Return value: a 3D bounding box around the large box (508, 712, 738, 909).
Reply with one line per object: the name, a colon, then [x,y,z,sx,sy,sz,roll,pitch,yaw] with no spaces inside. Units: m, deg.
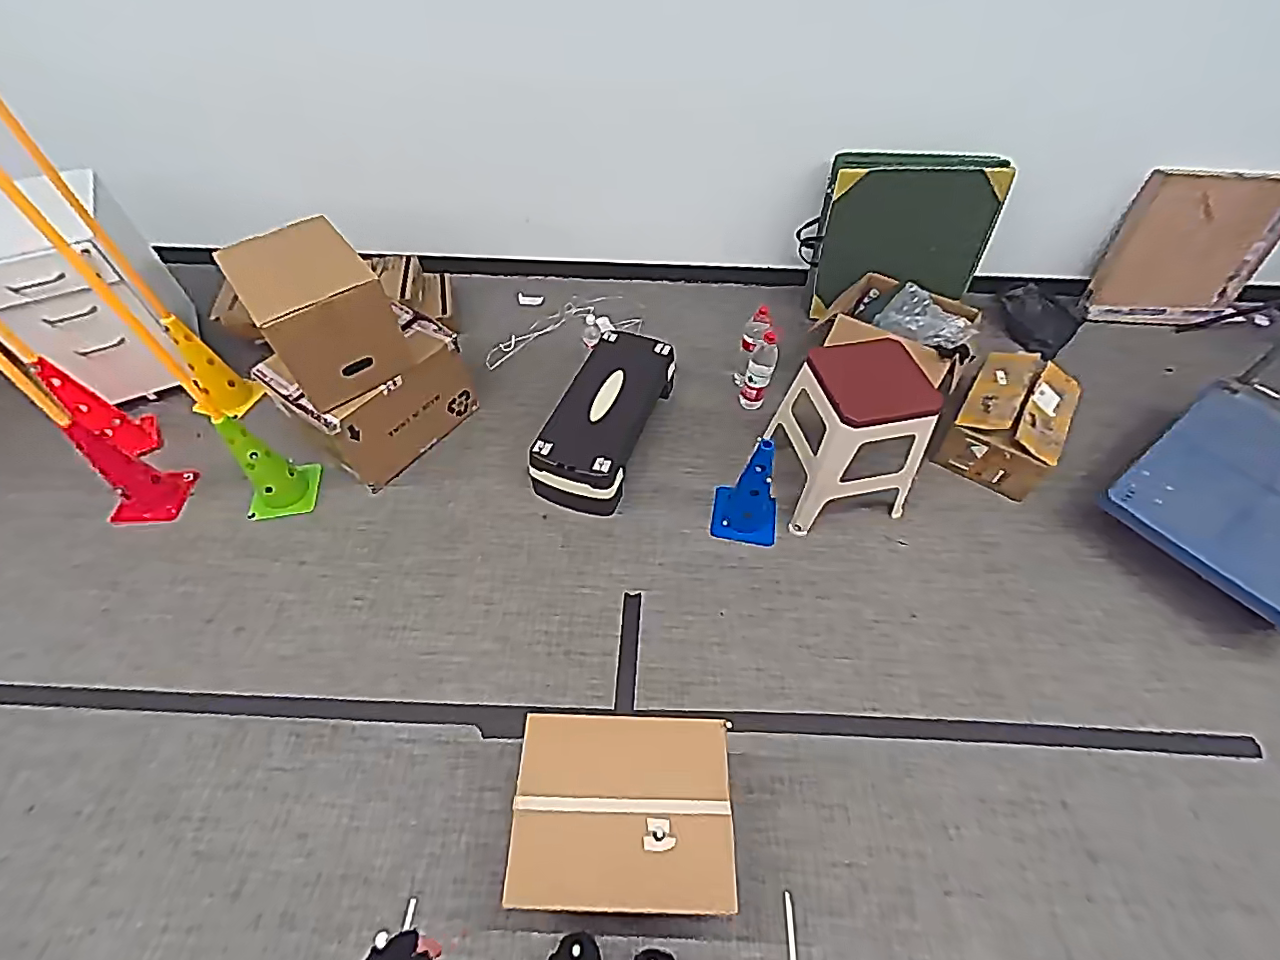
large box: [-0.034,0.691,1.129,0.408,0.320,0.320,3,54,-1]
